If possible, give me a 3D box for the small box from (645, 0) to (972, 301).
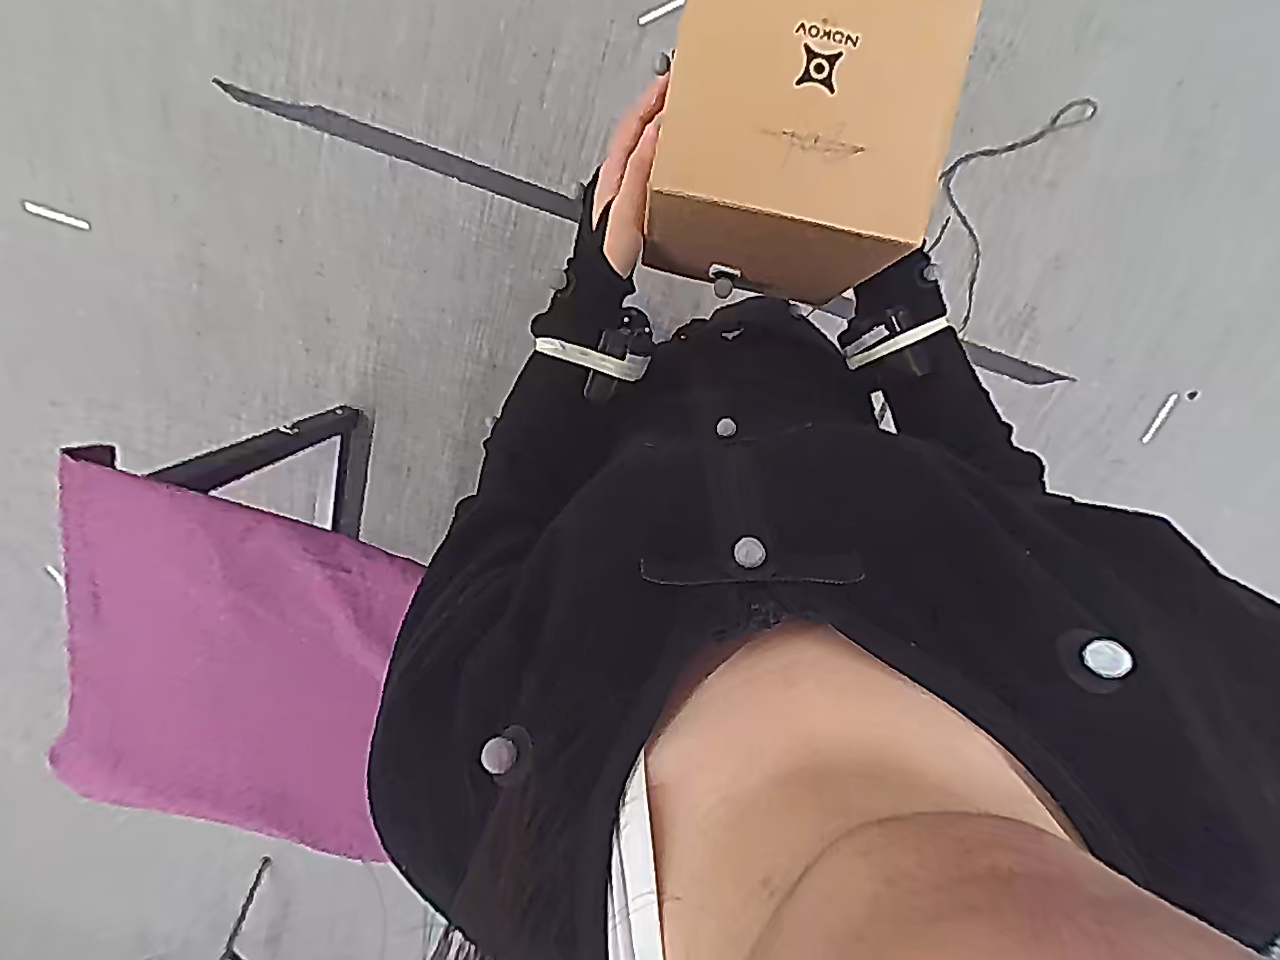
[{"bbox_3d":[0.098,-0.249,0.391,0.168,0.176,0.179,11,96,-2],"label":"small box"}]
